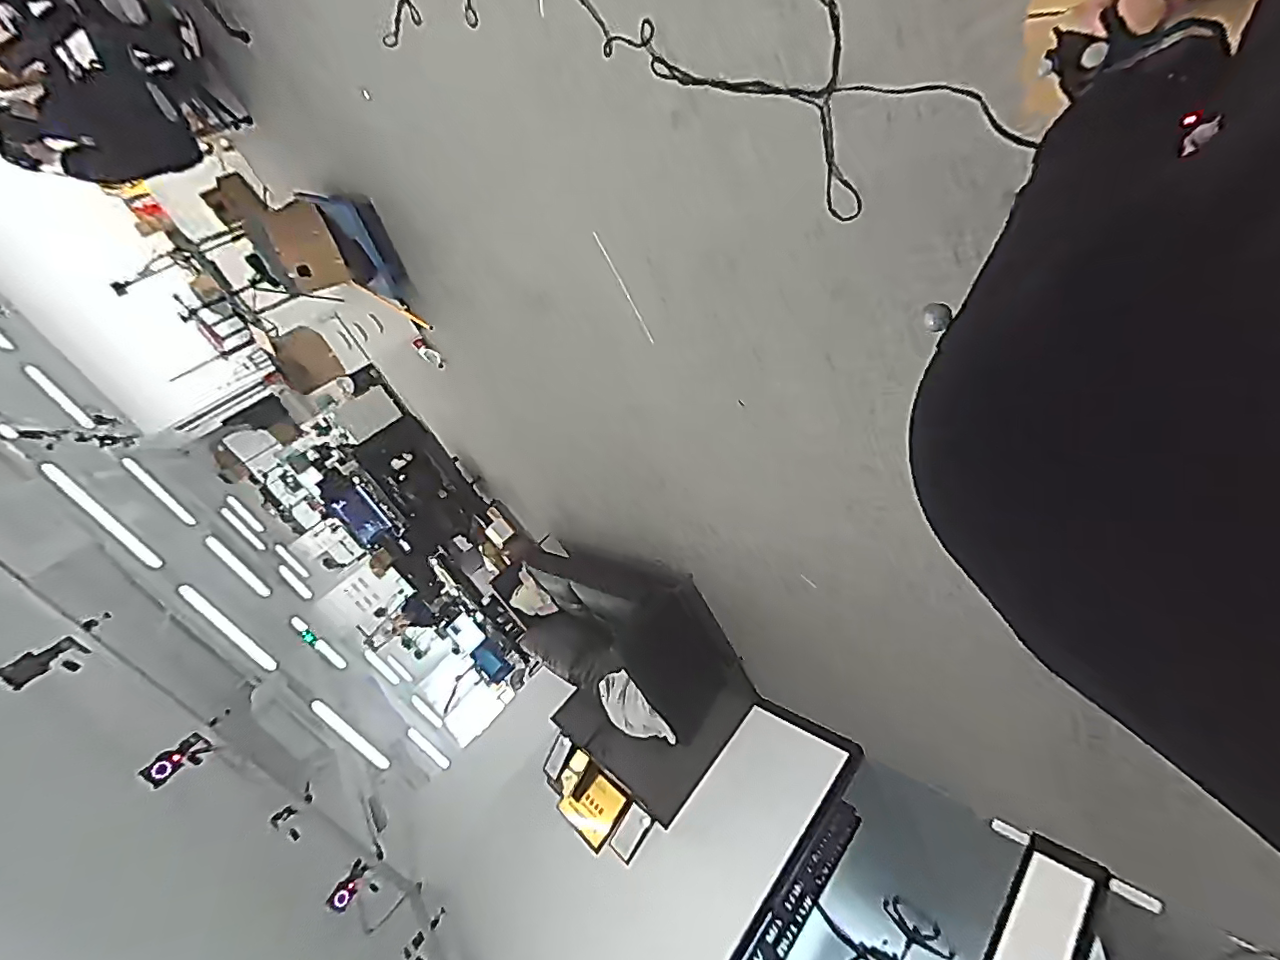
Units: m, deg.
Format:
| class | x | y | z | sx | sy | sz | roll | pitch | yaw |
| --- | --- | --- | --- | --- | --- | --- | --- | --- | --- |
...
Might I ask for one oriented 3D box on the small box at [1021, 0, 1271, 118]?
| class | x | y | z | sx | sy | sz | roll | pitch | yaw |
| --- | --- | --- | --- | --- | --- | --- | --- | --- | --- |
| small box | 0.487 | -0.476 | 0.508 | 0.168 | 0.179 | 0.176 | 23 | 106 | 32 |
